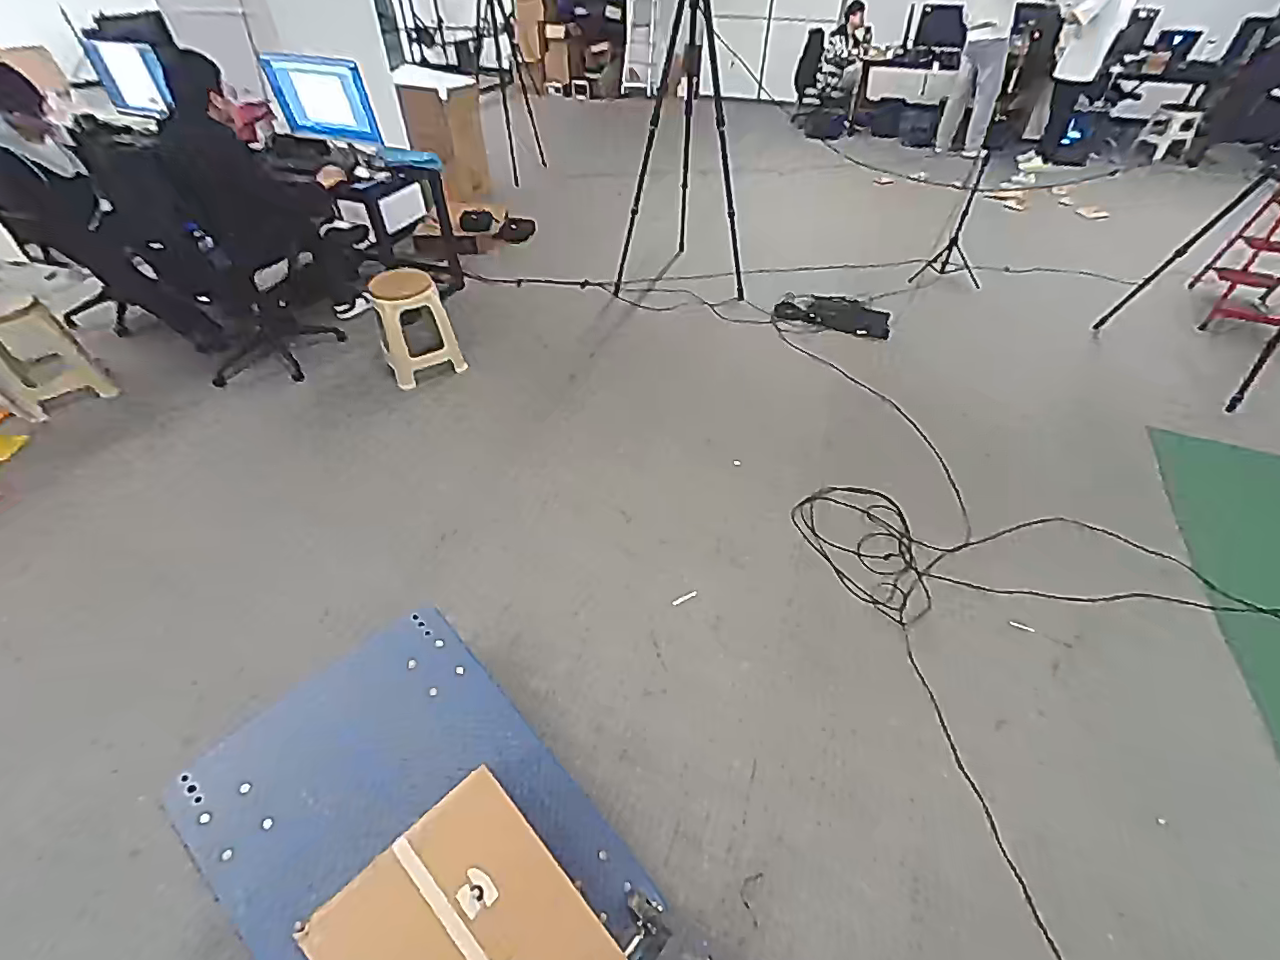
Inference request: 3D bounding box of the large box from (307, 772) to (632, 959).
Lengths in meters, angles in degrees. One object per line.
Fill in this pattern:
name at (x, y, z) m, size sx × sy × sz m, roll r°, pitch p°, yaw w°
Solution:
large box at (-0.274, 0.785, 0.928) m, size 0.320 × 0.320 × 0.408 m, roll -35°, pitch 75°, yaw -32°
